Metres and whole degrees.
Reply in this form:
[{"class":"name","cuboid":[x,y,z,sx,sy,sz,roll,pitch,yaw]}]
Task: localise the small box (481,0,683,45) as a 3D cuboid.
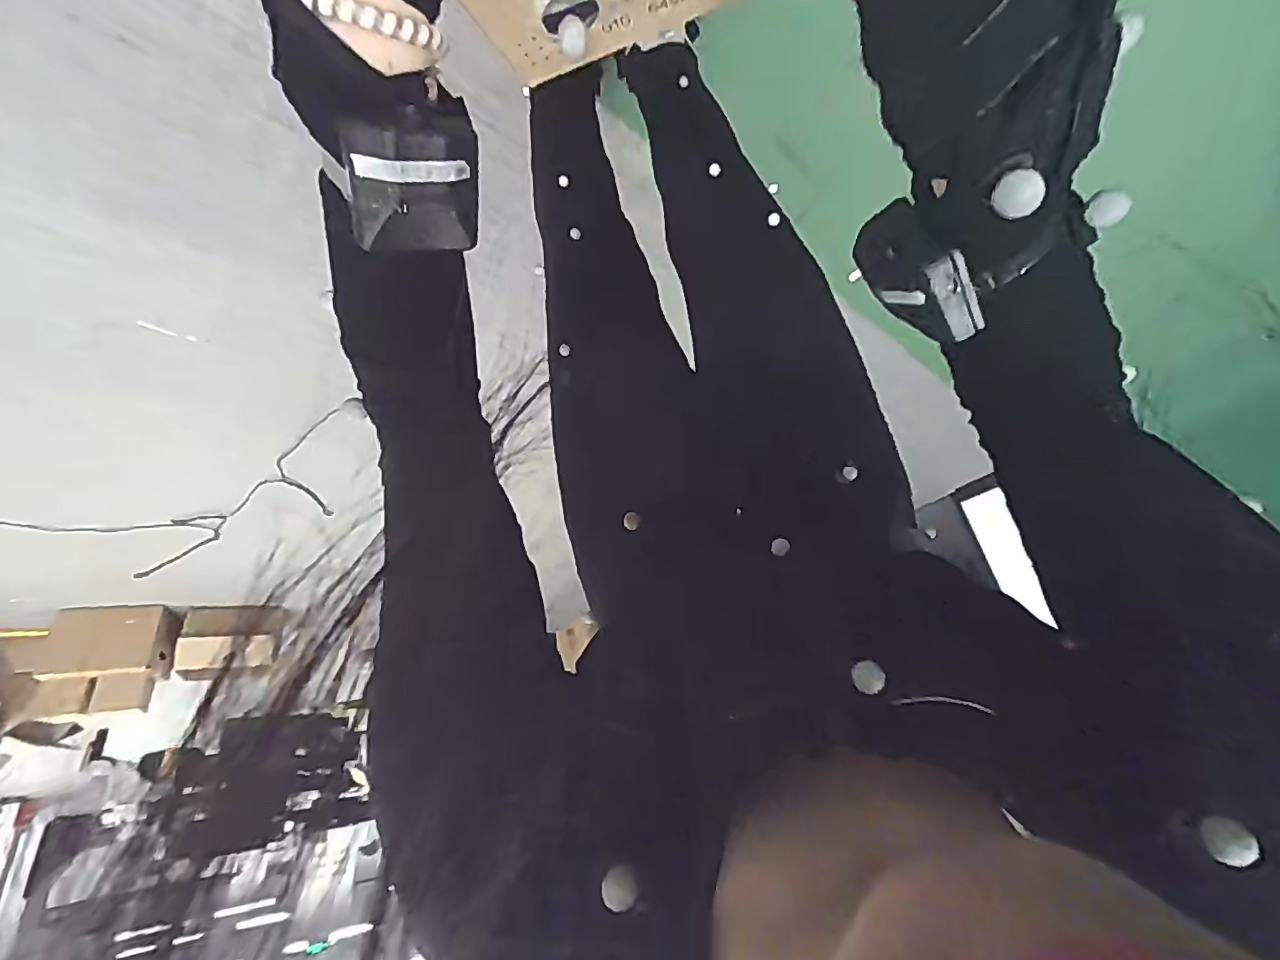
[{"class":"small box","cuboid":[-0.009,-0.261,0.135,0.168,0.179,0.176,-11,-175,15]}]
